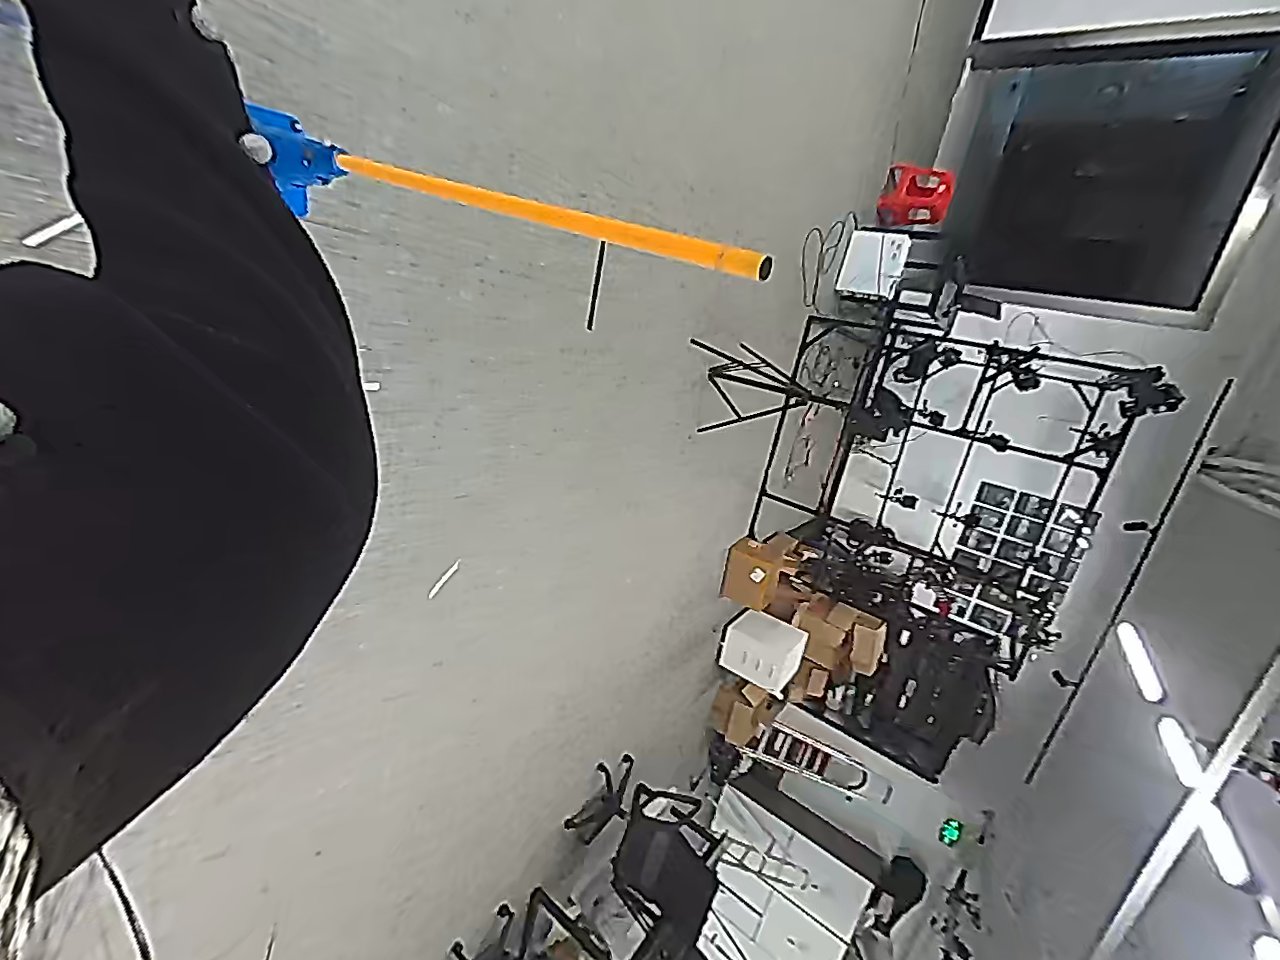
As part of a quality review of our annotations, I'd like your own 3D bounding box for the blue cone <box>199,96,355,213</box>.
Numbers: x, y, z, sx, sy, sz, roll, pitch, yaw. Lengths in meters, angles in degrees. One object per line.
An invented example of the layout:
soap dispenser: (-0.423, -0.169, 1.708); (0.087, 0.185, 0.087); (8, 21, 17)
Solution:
blue cone: (-0.671, -0.626, 1.053); (0.193, 0.380, 0.192); (-17, 122, -53)
